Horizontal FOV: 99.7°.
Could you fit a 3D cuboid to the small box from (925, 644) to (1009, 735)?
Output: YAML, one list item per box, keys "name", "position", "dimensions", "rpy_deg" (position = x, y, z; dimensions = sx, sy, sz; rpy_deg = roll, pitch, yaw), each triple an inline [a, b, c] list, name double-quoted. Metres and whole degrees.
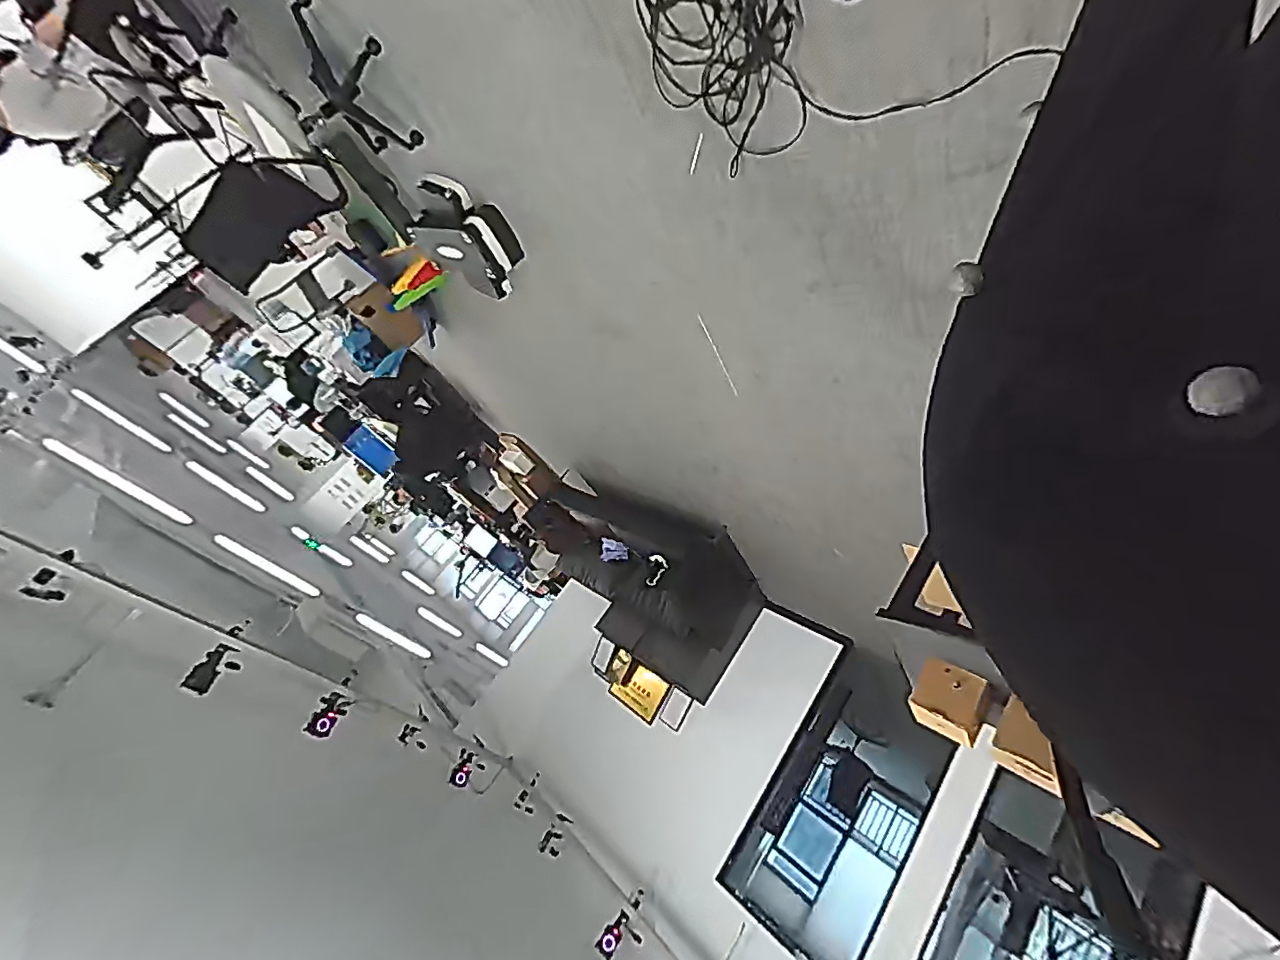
- name: "small box"
  position: [1.004, 0.637, 1.653]
  dimensions: [0.168, 0.176, 0.179]
  rpy_deg: [18, 155, 47]
